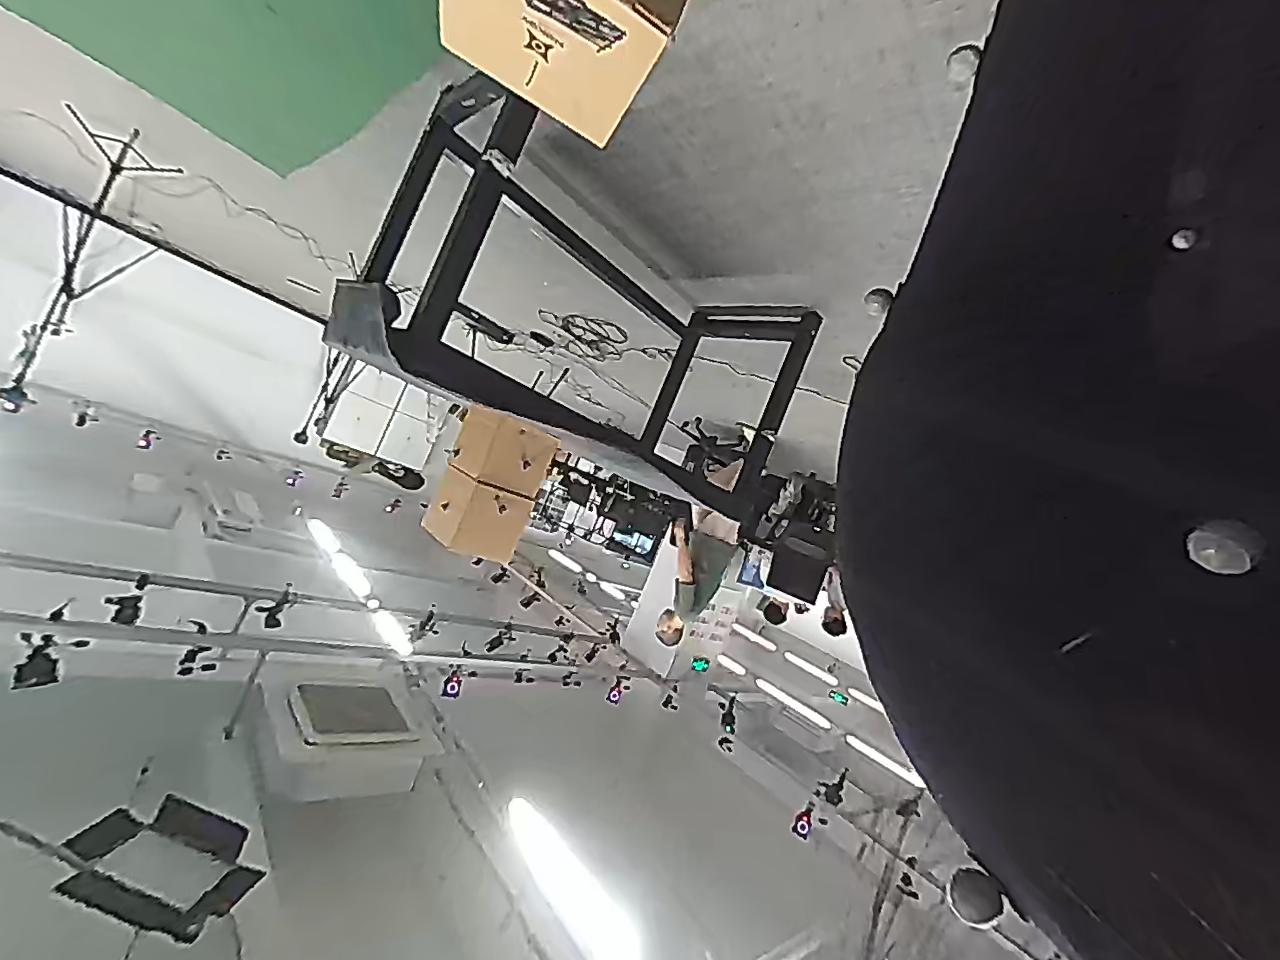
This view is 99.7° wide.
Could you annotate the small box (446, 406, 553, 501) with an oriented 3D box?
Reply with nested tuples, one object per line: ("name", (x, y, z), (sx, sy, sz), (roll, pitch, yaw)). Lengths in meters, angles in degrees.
("small box", (-0.335, -0.068, 1.311), (0.168, 0.176, 0.179), (24, 179, -44))

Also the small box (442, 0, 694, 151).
("small box", (-0.045, -0.420, 0.431), (0.168, 0.176, 0.179), (22, 179, -22))
